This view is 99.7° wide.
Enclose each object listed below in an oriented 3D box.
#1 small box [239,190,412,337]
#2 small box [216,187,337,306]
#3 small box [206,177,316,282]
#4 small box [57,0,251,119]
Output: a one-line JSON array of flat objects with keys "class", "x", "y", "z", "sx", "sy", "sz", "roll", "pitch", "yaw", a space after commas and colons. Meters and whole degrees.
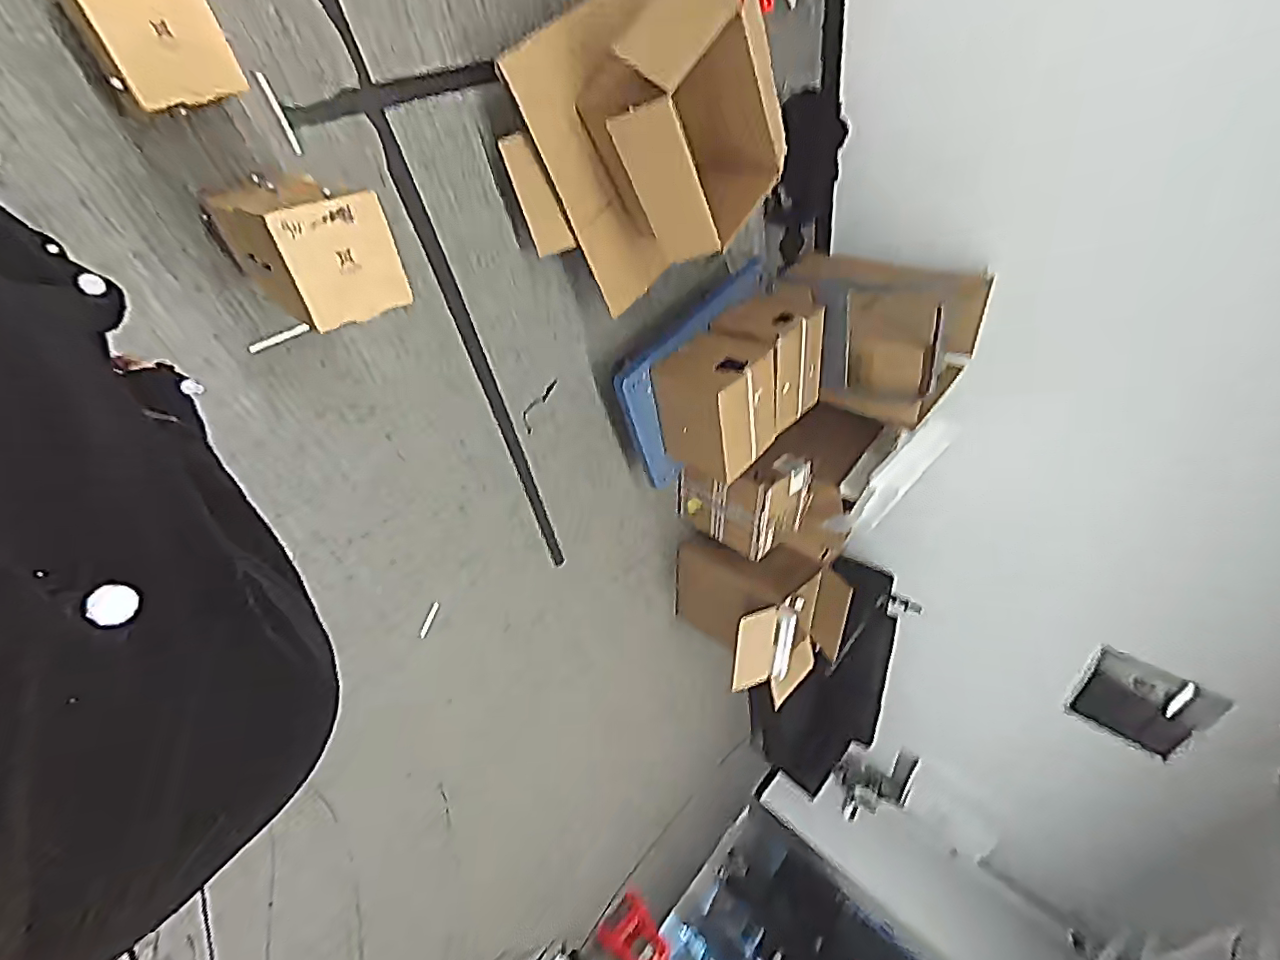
[{"class": "small box", "x": -0.513, "y": -0.361, "z": 0.890, "sx": 0.168, "sy": 0.176, "sz": 0.179, "roll": -34, "pitch": 136, "yaw": -32}, {"class": "small box", "x": -0.627, "y": -0.425, "z": 0.990, "sx": 0.168, "sy": 0.176, "sz": 0.179, "roll": -37, "pitch": 137, "yaw": -29}, {"class": "small box", "x": -0.733, "y": -0.499, "z": 1.093, "sx": 0.179, "sy": 0.176, "sz": 0.168, "roll": -40, "pitch": 138, "yaw": -29}, {"class": "small box", "x": -0.795, "y": -0.714, "z": 0.887, "sx": 0.168, "sy": 0.176, "sz": 0.179, "roll": -39, "pitch": 137, "yaw": -29}]
